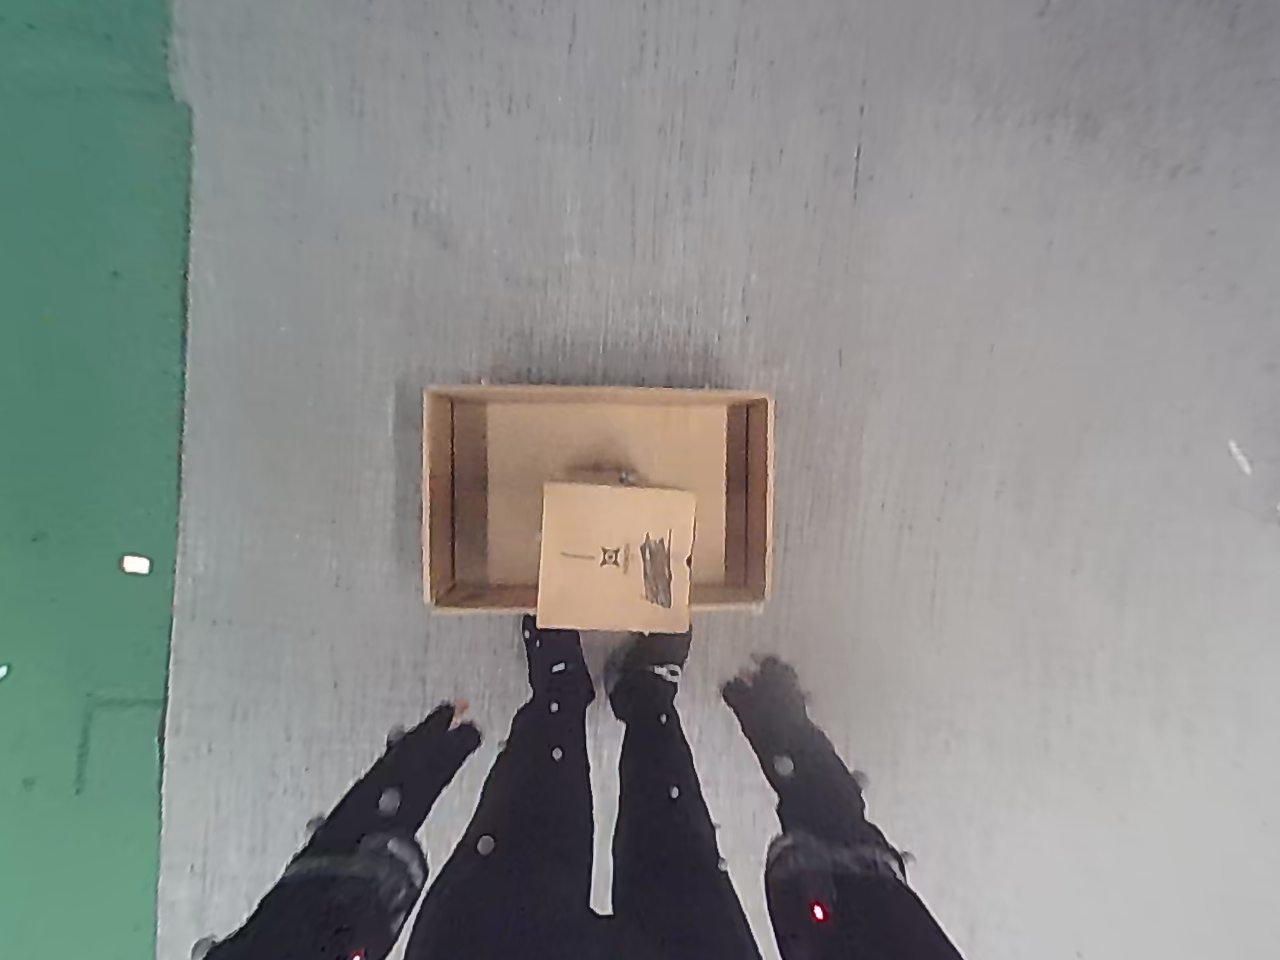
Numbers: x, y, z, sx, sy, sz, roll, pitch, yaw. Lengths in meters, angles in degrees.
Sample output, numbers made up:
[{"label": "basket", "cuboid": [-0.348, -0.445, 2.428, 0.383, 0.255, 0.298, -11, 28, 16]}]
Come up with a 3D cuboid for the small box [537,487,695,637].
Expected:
[{"label": "small box", "cuboid": [-0.034, 0.098, 0.711, 0.179, 0.176, 0.168, 5, 89, -5]}]
